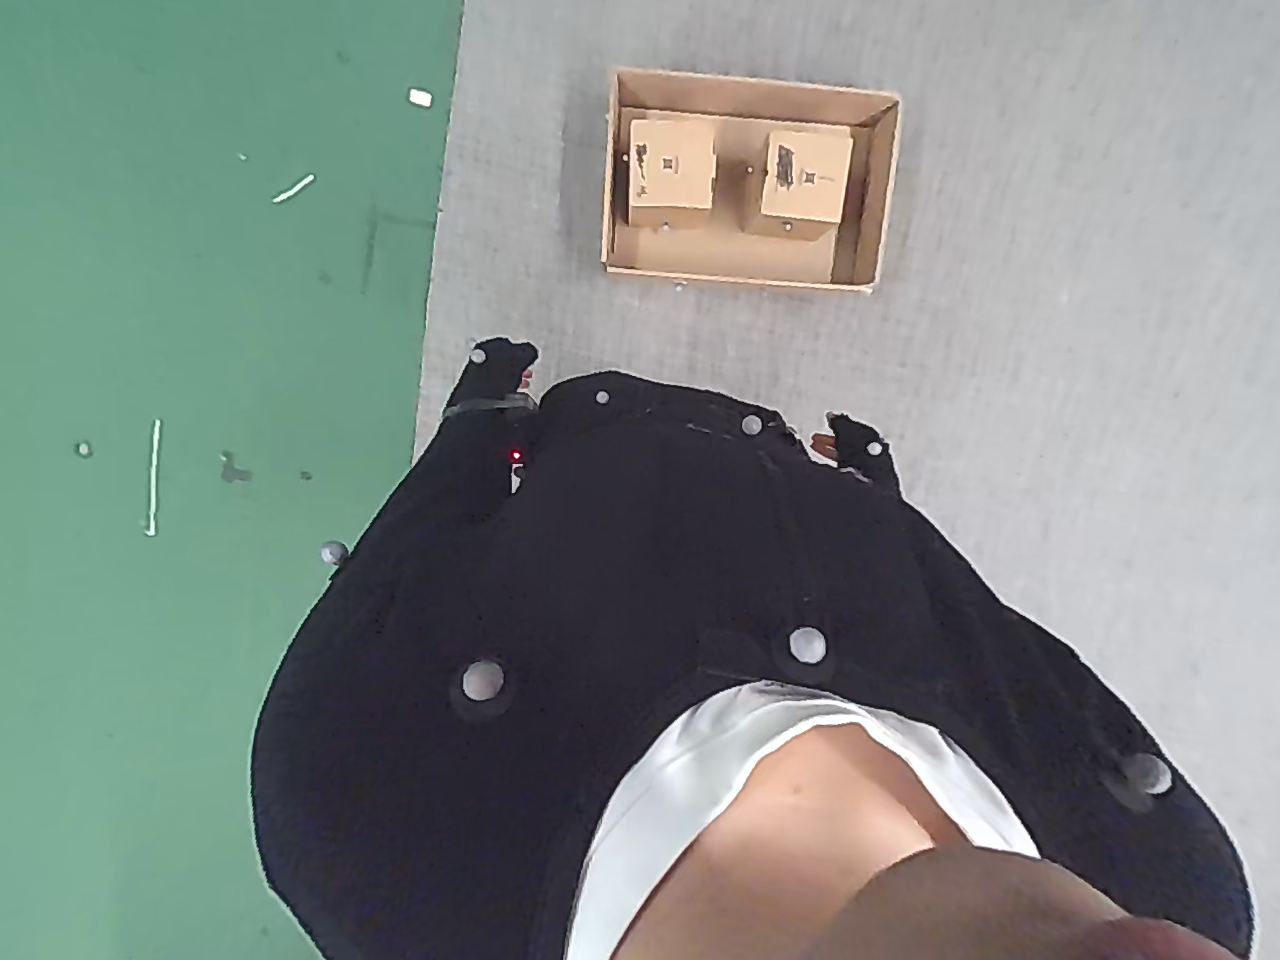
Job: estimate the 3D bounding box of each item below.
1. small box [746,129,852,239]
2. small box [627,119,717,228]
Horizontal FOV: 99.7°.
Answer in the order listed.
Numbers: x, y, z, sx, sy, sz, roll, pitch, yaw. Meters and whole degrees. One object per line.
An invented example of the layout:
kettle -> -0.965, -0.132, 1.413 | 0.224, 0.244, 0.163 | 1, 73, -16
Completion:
small box -> 0.345, -0.652, 1.209 | 0.179, 0.176, 0.168 | 6, 102, -2
small box -> 0.064, -0.669, 1.198 | 0.179, 0.176, 0.168 | 1, 101, -3
